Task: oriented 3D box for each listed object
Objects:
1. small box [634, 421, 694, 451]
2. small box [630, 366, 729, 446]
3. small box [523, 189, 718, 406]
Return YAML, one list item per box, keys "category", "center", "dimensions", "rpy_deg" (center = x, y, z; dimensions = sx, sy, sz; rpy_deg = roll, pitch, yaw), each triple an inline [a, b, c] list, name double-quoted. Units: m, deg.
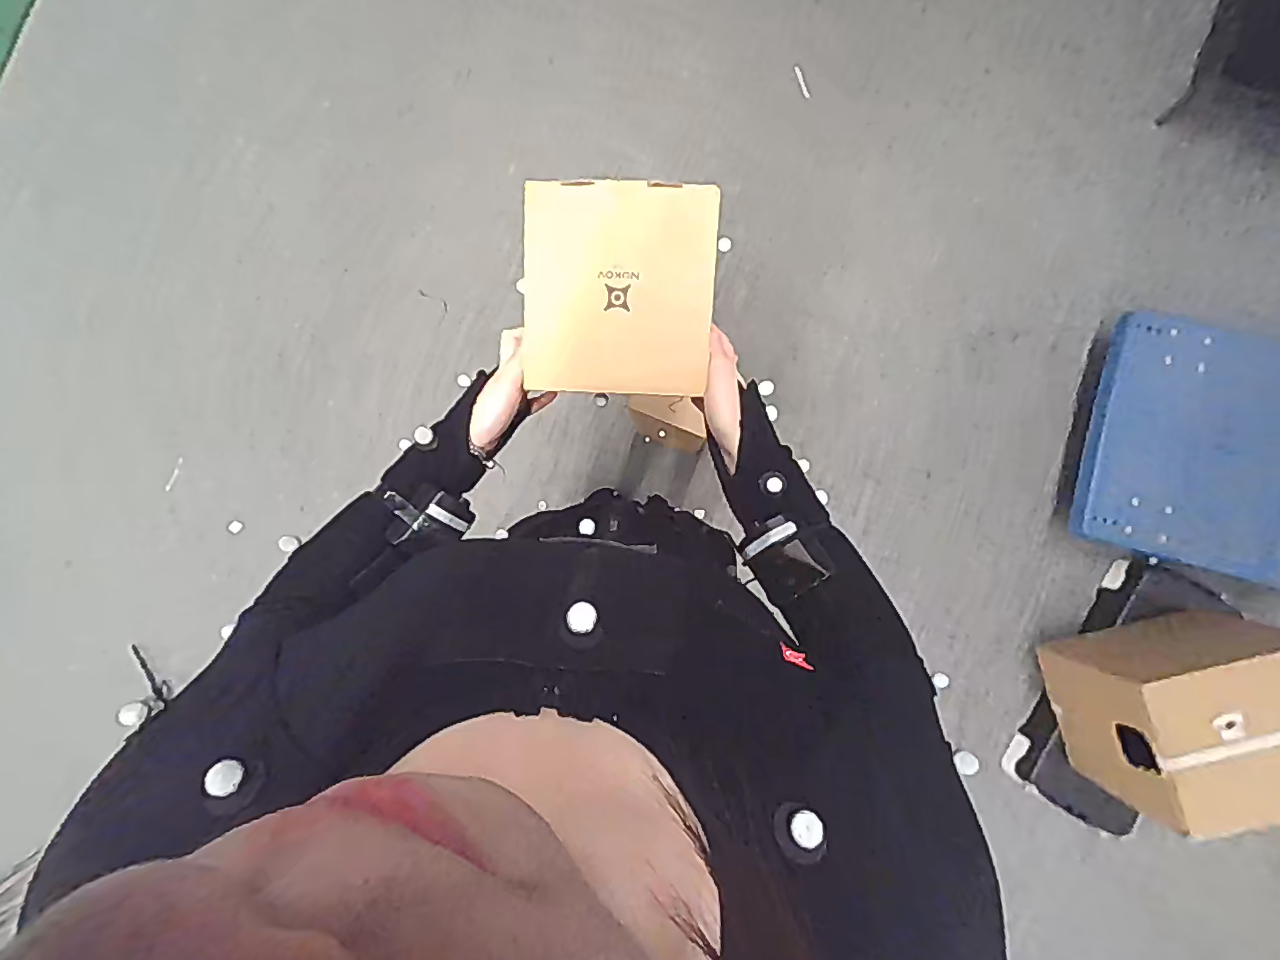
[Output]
- category: "small box"
  center: [0.095, -0.188, 1.443]
  dimensions: [0.168, 0.176, 0.179]
  rpy_deg: [22, 88, 2]
- category: "small box"
  center: [0.090, -0.188, 1.278]
  dimensions: [0.179, 0.176, 0.168]
  rpy_deg: [23, 89, 2]
- category: "small box"
  center: [-0.015, -0.169, 0.542]
  dimensions: [0.168, 0.176, 0.179]
  rpy_deg: [2, 100, 3]
